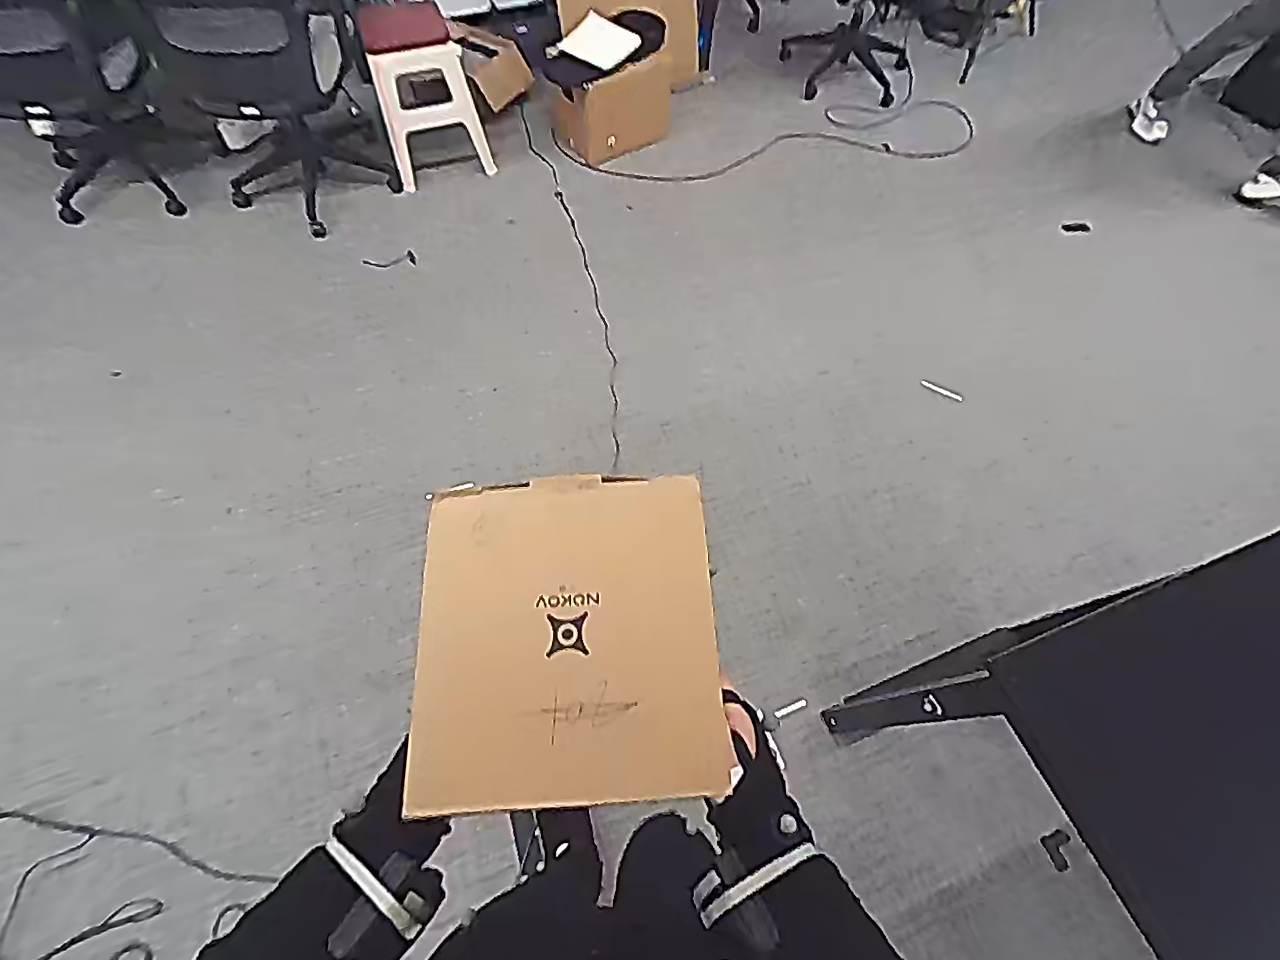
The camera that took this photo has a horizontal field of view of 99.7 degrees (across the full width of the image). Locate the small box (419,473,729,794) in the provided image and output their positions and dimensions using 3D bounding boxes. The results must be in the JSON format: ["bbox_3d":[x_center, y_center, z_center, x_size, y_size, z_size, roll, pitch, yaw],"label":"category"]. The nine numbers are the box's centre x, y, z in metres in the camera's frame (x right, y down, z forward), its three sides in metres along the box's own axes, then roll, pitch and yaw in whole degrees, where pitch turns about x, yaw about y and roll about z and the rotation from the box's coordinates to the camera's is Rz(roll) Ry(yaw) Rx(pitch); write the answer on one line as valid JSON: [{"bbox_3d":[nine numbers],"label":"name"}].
[{"bbox_3d":[-0.038,0.109,0.387,0.168,0.176,0.179,-4,69,-1],"label":"small box"}]
